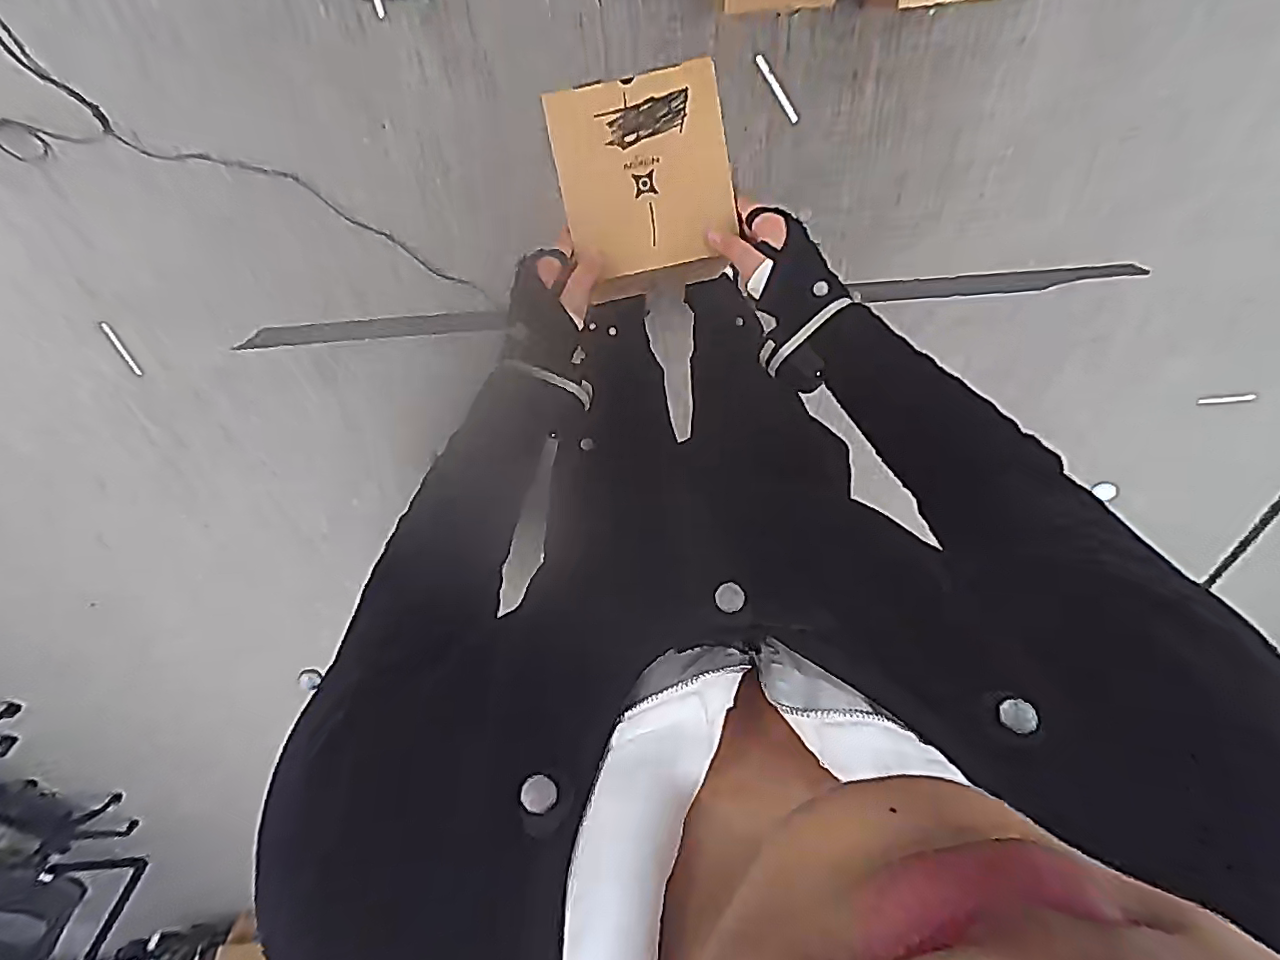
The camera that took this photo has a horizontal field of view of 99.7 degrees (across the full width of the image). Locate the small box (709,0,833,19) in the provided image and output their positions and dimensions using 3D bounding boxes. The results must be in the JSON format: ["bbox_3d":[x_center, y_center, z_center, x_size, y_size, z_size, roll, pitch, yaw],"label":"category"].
[{"bbox_3d":[0.207,-0.850,0.859,0.179,0.176,0.168,-4,128,3],"label":"small box"}]

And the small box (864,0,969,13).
[{"bbox_3d":[0.470,-0.865,0.852,0.168,0.176,0.179,-5,128,3],"label":"small box"}]

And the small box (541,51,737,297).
[{"bbox_3d":[-0.001,-0.316,0.597,0.168,0.176,0.179,-11,102,2],"label":"small box"}]
